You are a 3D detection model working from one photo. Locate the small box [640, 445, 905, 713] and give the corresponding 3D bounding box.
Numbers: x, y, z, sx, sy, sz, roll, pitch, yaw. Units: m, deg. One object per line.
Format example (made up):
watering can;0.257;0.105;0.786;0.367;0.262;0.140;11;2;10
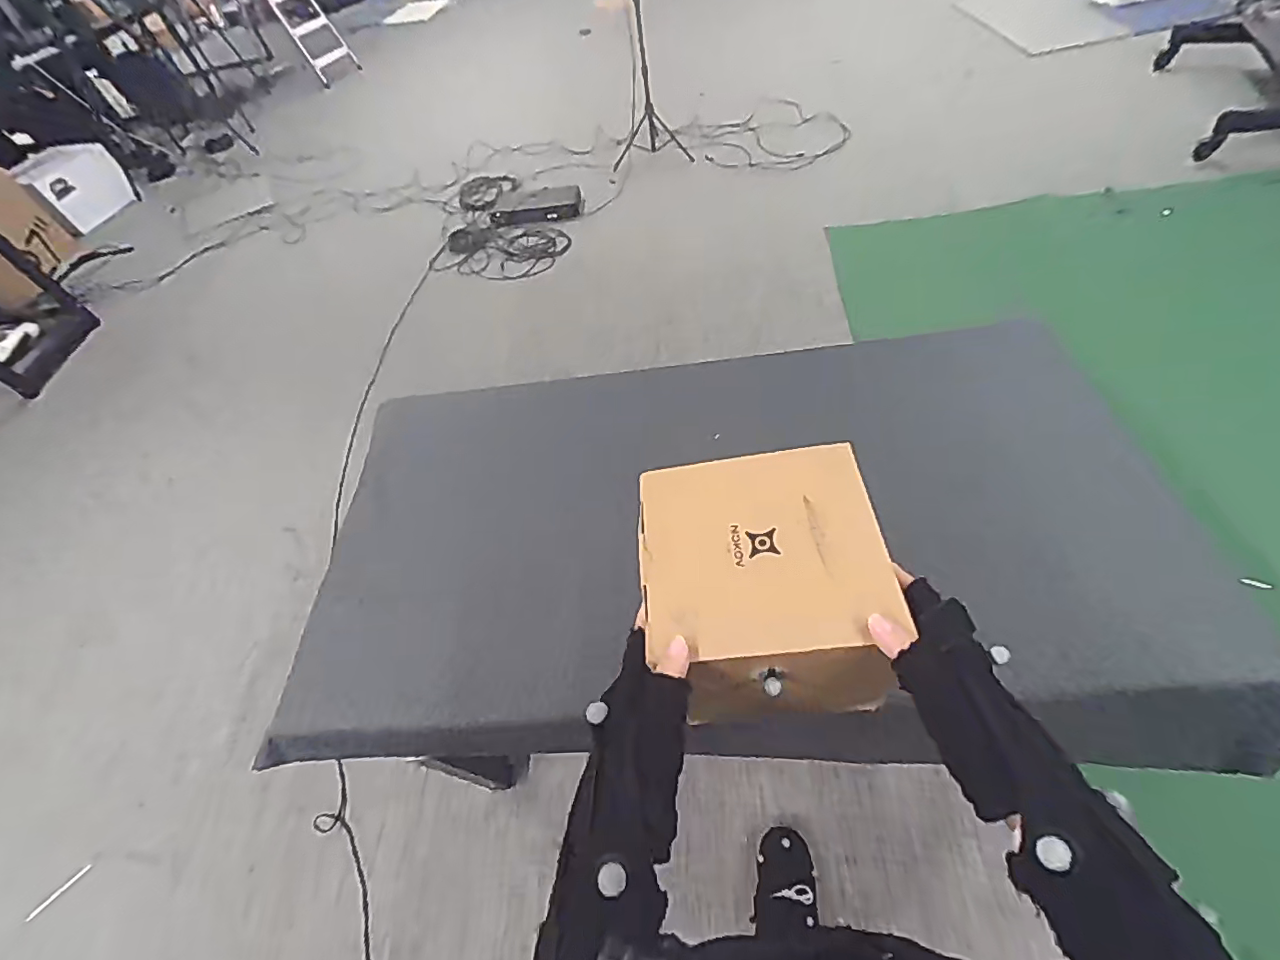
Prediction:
small box;0.103;0.095;0.476;0.179;0.176;0.168;-9;52;7
